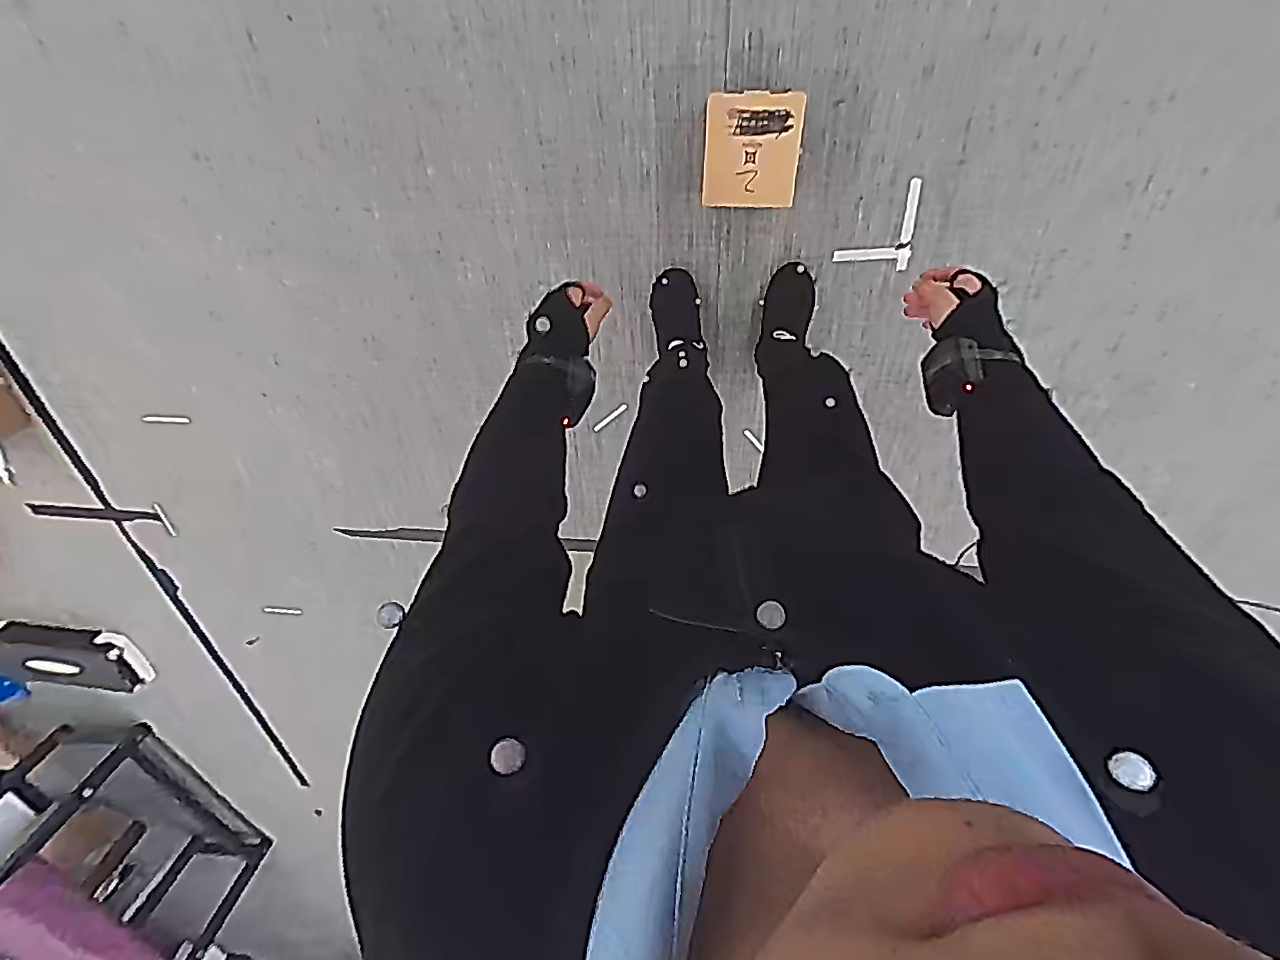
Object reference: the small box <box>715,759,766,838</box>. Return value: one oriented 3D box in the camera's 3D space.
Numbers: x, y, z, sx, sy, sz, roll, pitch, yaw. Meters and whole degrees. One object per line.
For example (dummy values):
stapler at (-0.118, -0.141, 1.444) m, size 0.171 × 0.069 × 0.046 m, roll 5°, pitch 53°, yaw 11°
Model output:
small box at (0.347, 1.101, 1.873) m, size 0.168 × 0.176 × 0.179 m, roll -2°, pitch 122°, yaw 10°

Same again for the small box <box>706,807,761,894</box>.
small box at (0.301, 1.189, 1.739) m, size 0.168 × 0.176 × 0.179 m, roll -2°, pitch 122°, yaw 9°
